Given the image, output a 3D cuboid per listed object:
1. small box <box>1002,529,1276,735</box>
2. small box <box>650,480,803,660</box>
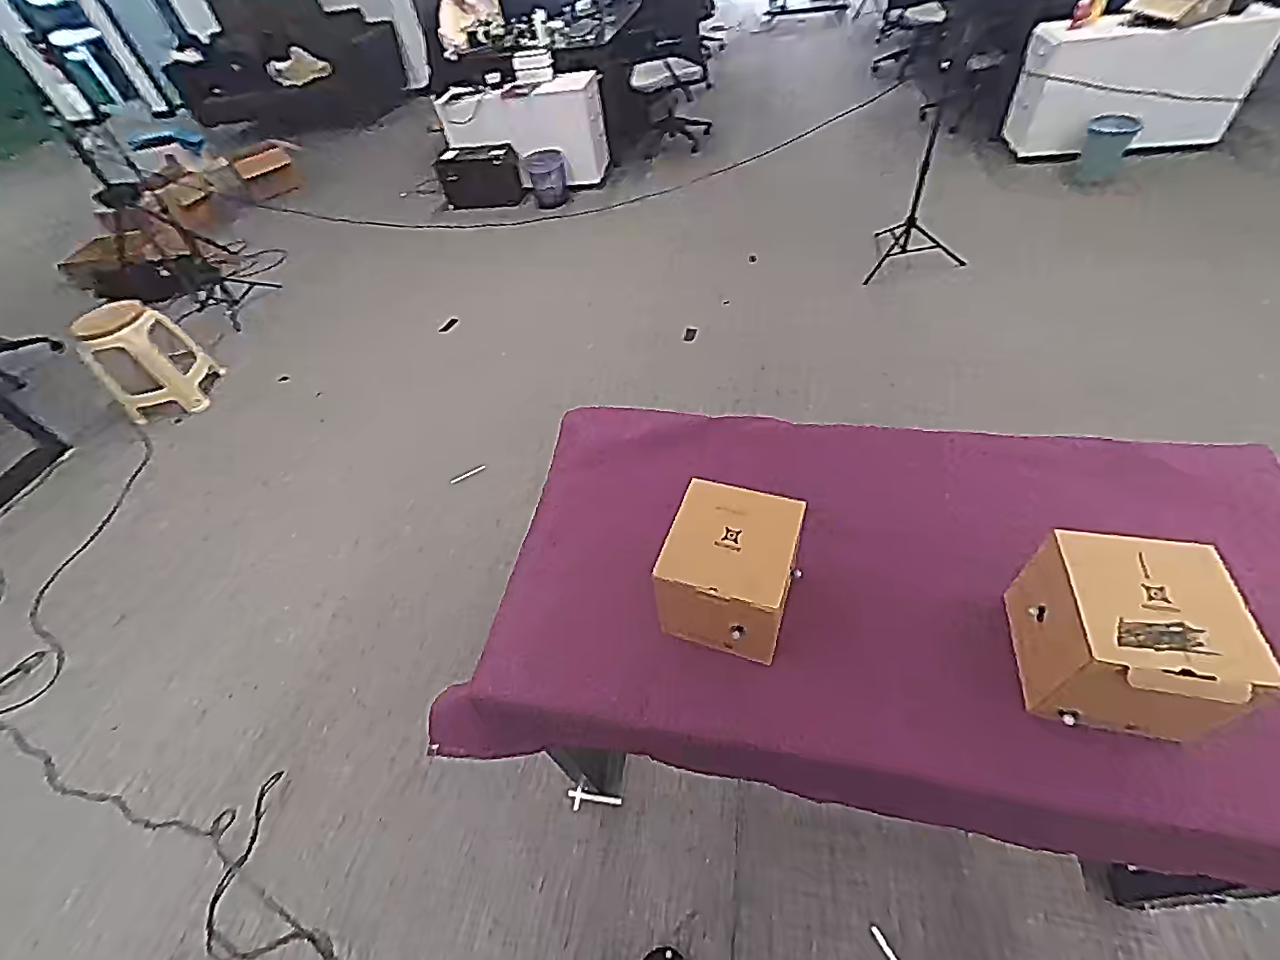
[{"bbox_3d":[0.573,0.186,0.657,0.168,0.176,0.179,6,49,14],"label":"small box"},{"bbox_3d":[0.128,0.131,0.778,0.168,0.176,0.179,13,52,19],"label":"small box"}]
